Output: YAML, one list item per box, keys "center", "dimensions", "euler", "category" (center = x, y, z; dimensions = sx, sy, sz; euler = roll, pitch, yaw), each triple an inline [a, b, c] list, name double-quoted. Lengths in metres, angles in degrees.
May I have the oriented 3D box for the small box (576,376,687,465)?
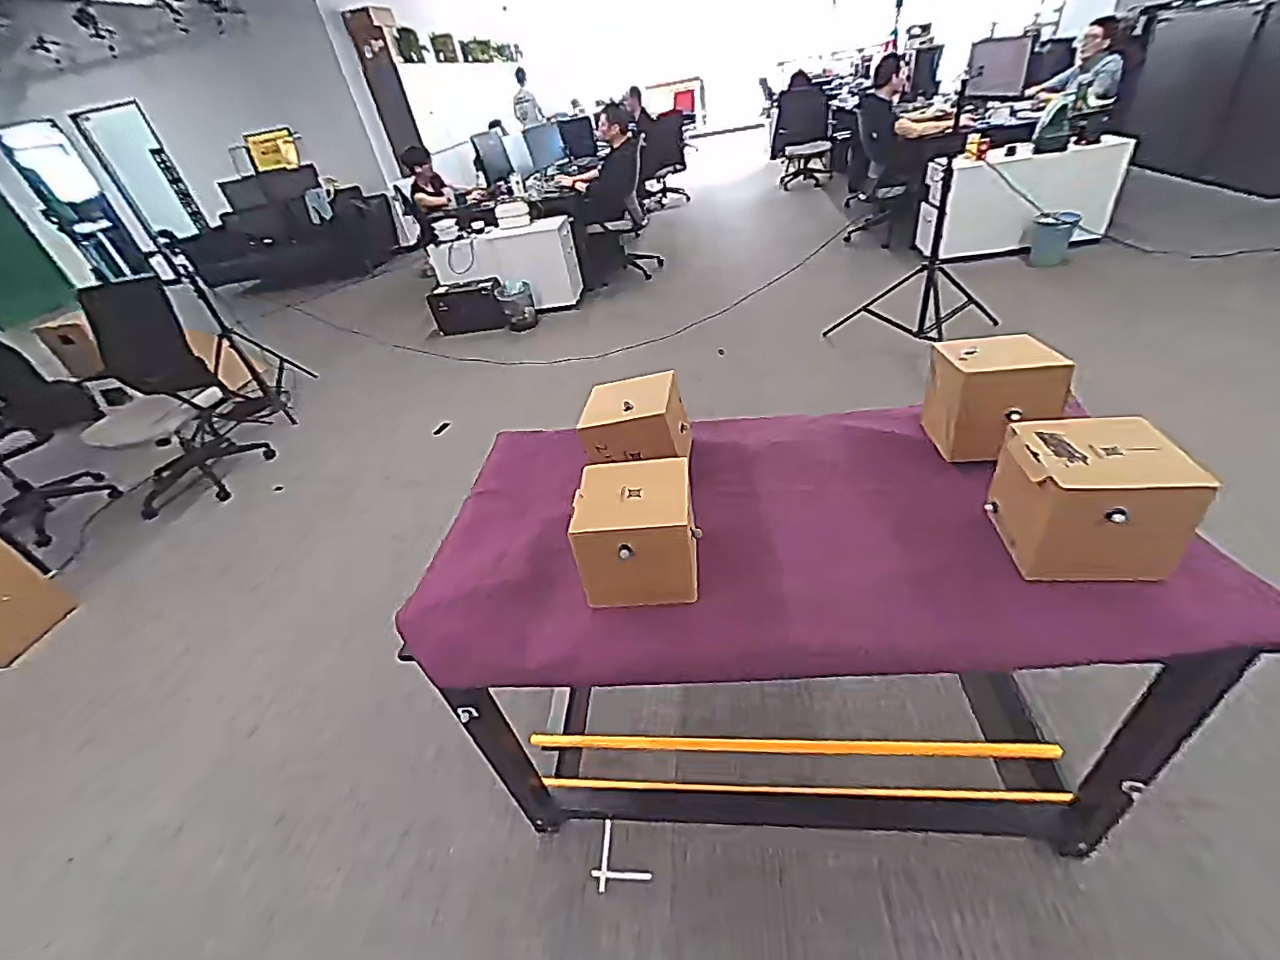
- center: [-0.006, -0.092, 1.084]
  dimensions: [0.179, 0.168, 0.176]
  euler: [-8, 35, 16]
  category: "small box"

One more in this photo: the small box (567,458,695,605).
- center: [-0.003, 0.084, 0.872]
  dimensions: [0.179, 0.176, 0.168]
  euler: [-5, 37, 8]
  category: "small box"

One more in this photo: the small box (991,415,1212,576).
- center: [0.634, 0.024, 0.779]
  dimensions: [0.179, 0.176, 0.168]
  euler: [-2, 36, 11]
  category: "small box"
